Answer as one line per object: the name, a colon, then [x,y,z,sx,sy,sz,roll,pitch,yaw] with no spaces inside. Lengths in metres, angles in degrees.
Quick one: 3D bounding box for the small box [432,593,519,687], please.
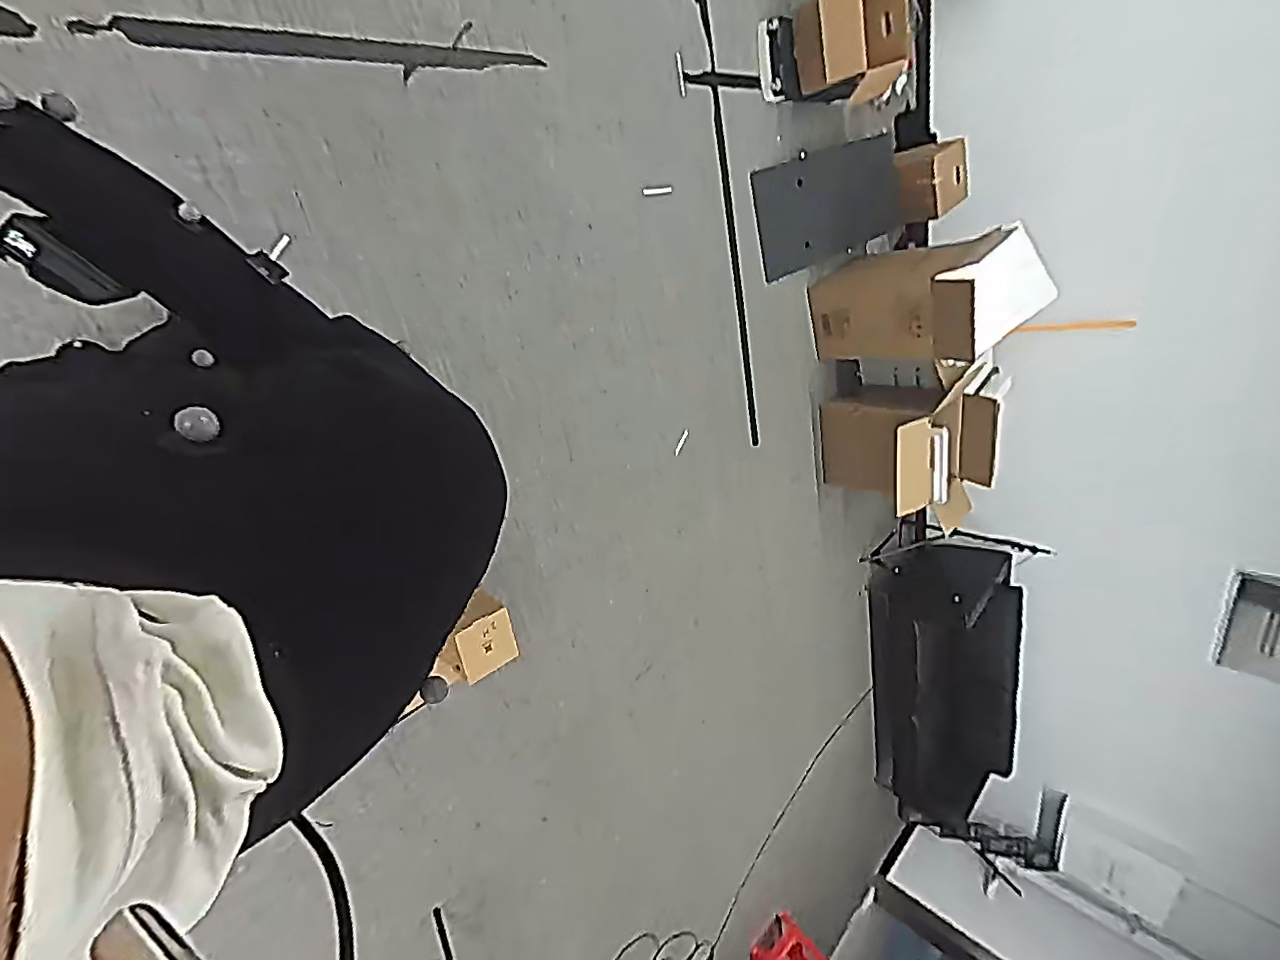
small box: [-0.481,0.460,1.582,0.168,0.176,0.179,-25,115,-38]
